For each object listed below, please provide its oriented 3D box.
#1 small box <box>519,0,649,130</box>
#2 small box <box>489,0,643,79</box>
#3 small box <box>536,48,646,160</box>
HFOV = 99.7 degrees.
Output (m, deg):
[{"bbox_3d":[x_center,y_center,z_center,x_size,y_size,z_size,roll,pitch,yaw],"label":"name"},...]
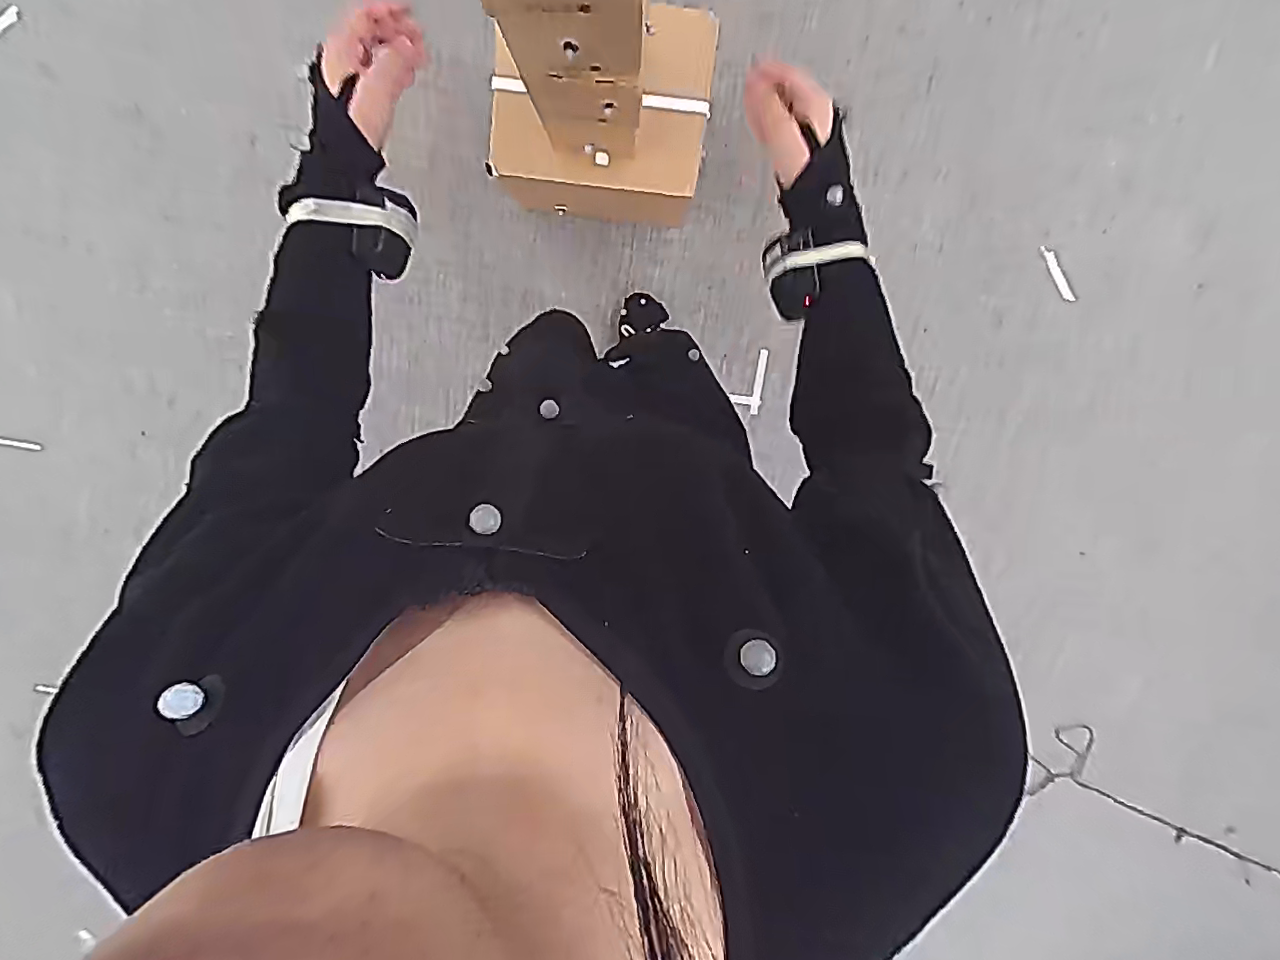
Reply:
[{"bbox_3d":[-0.075,-0.639,0.787,0.168,0.176,0.179,4,104,-2],"label":"small box"},{"bbox_3d":[-0.078,-0.599,0.628,0.168,0.176,0.179,0,106,-2],"label":"small box"},{"bbox_3d":[-0.080,-0.687,0.942,0.168,0.176,0.179,6,106,-2],"label":"small box"}]
